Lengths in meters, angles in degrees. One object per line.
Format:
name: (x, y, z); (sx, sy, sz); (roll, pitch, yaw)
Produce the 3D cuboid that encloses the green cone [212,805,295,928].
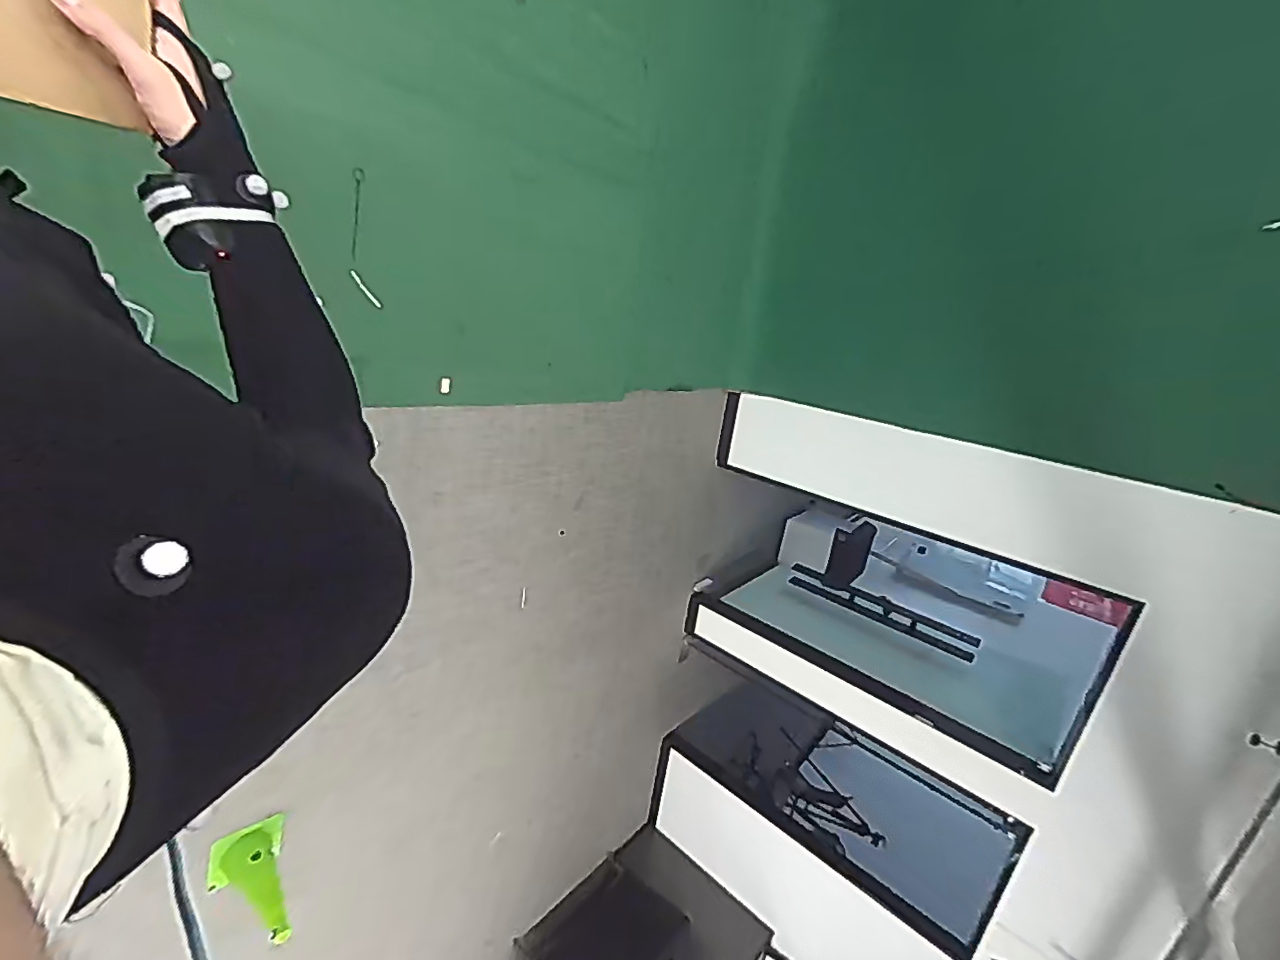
green cone: (-1.171, 1.255, 1.701); (0.200, 0.368, 0.202); (-4, 110, -51)
